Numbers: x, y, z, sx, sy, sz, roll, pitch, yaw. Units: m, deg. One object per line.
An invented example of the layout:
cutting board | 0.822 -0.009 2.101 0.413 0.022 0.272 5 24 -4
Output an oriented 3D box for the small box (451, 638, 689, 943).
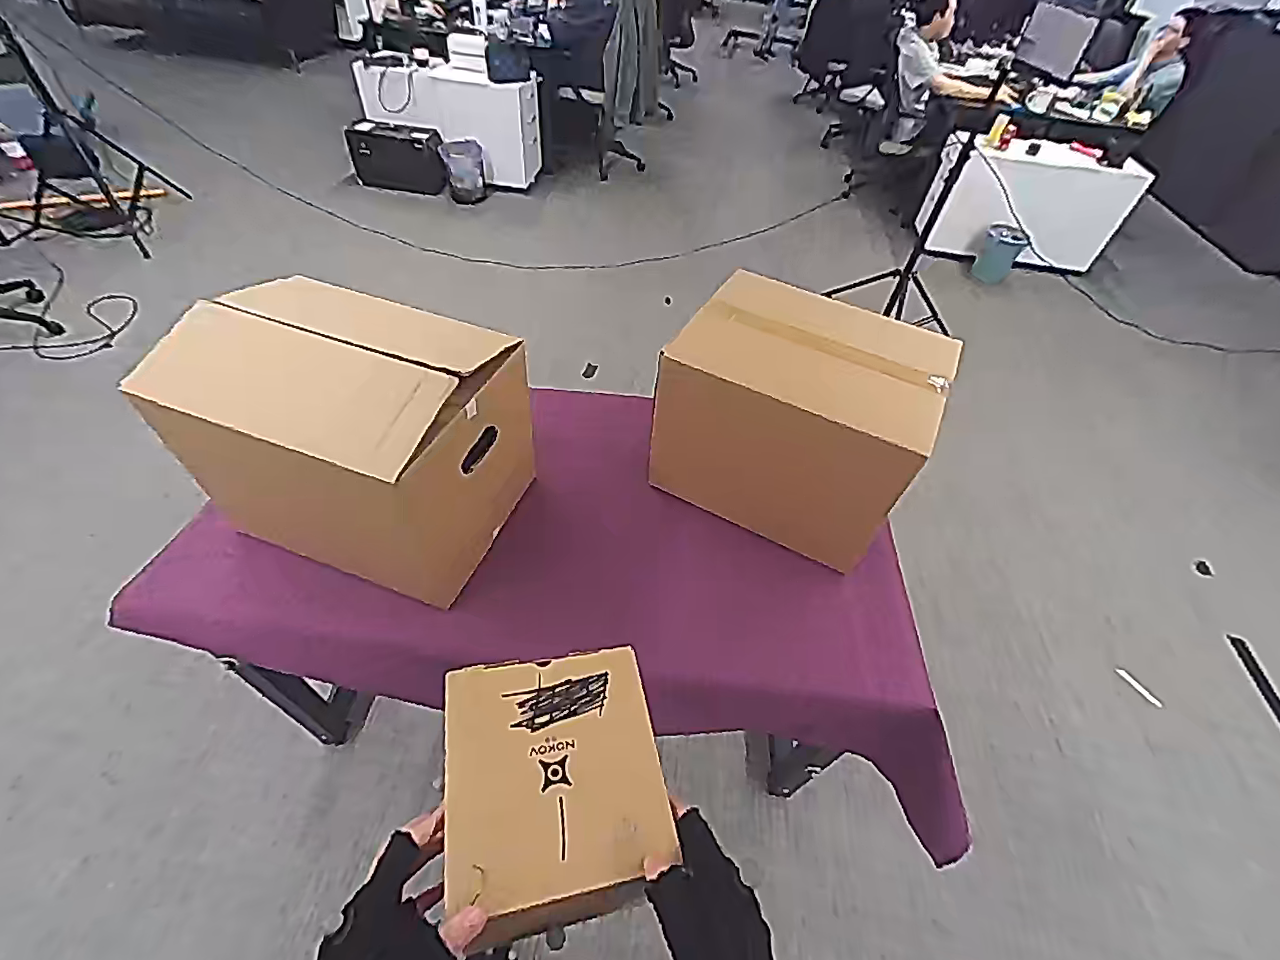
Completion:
small box | -0.074 0.267 0.476 0.168 0.176 0.179 -4 46 -16
